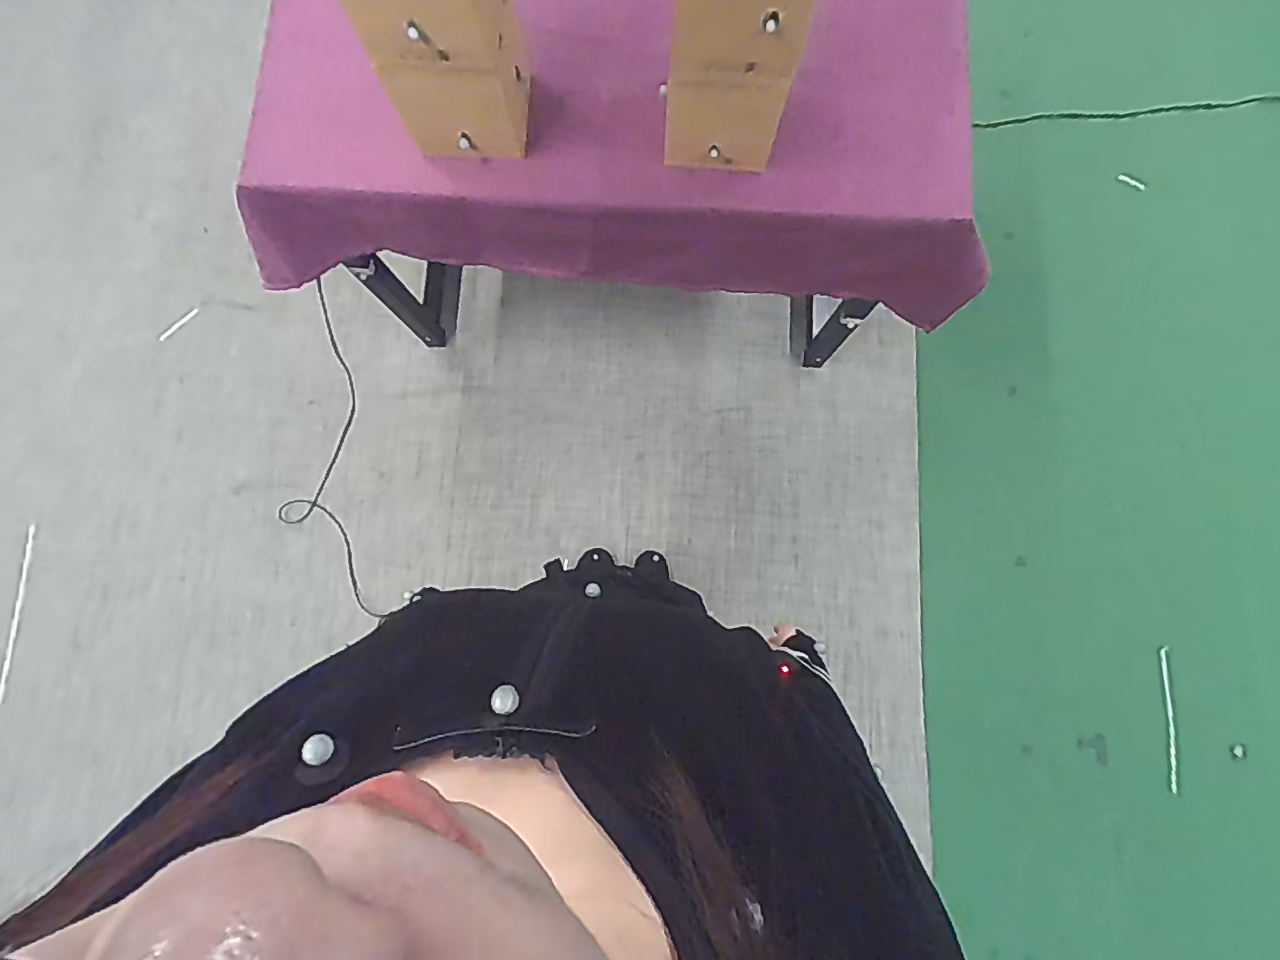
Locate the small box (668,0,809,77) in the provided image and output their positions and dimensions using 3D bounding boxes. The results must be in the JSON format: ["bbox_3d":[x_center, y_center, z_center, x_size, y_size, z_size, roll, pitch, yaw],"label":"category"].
[{"bbox_3d":[0.123,-0.637,0.659,0.168,0.176,0.179,4,82,0],"label":"small box"}]

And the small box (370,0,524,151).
[{"bbox_3d":[-0.279,-0.634,0.823,0.179,0.176,0.168,2,82,-1],"label":"small box"}]

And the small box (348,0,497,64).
[{"bbox_3d":[-0.277,-0.662,0.660,0.168,0.176,0.179,3,82,1],"label":"small box"}]
